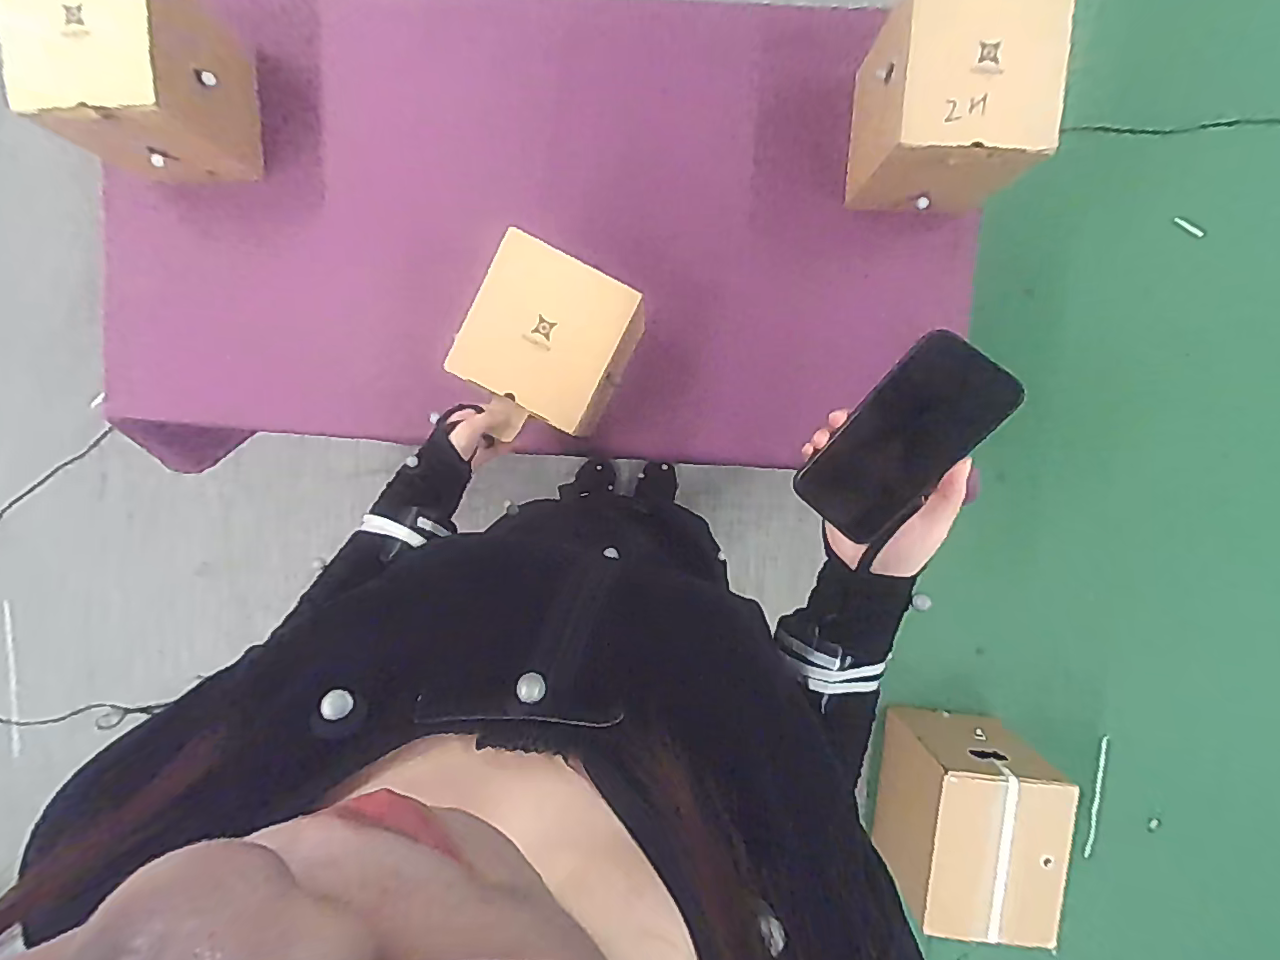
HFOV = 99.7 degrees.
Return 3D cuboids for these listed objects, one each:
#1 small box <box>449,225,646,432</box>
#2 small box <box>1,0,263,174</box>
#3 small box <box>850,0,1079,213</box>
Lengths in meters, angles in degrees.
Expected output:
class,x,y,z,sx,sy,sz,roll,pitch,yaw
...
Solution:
class,x,y,z,sx,sy,sz,roll,pitch,yaw
small box,-0.104,-0.174,0.677,0.168,0.176,0.179,27,96,-1
small box,-0.596,-0.495,0.658,0.168,0.176,0.179,-1,96,0
small box,0.363,-0.443,0.637,0.168,0.176,0.179,4,96,2
